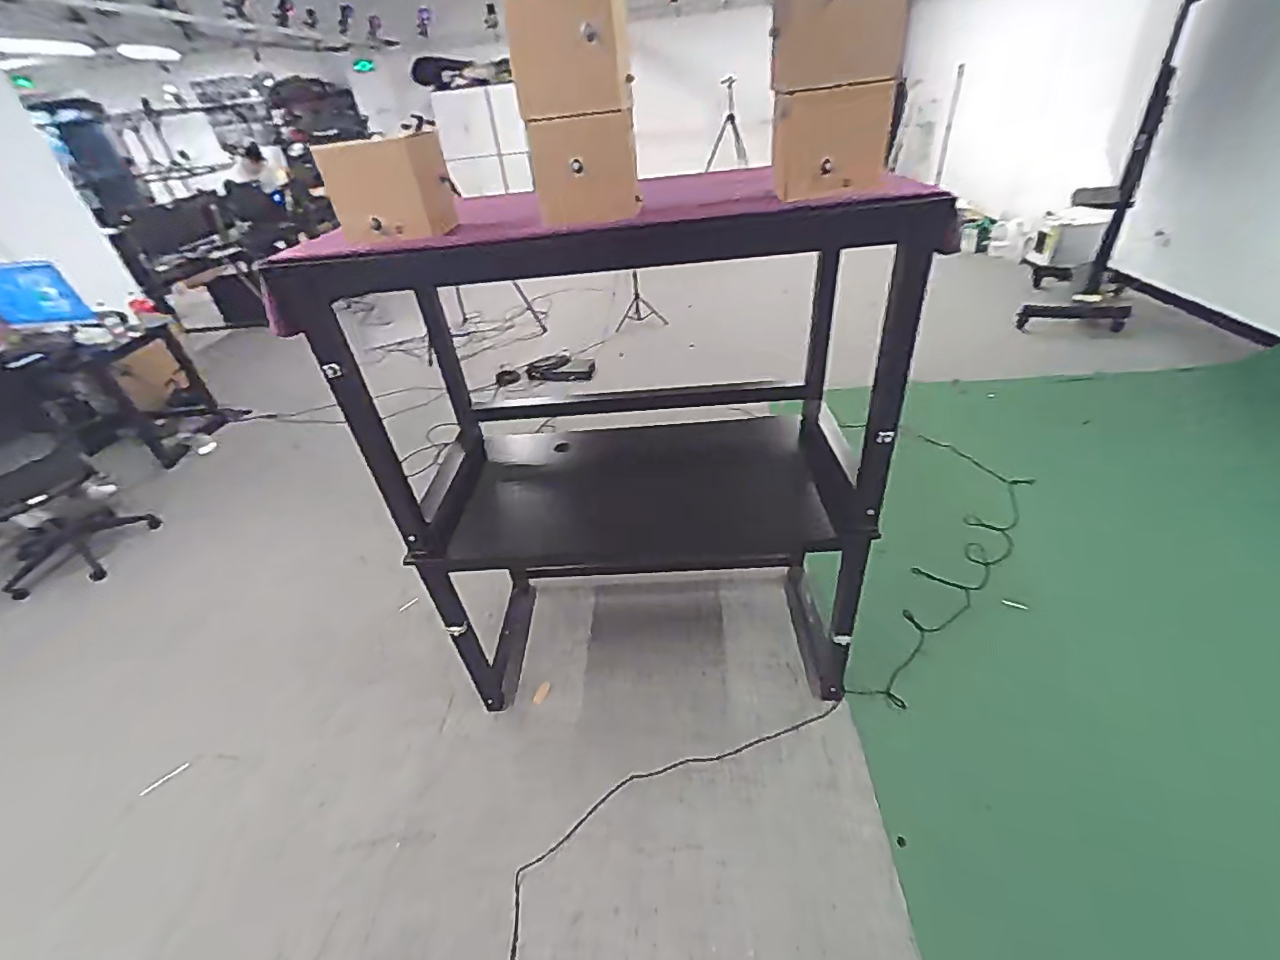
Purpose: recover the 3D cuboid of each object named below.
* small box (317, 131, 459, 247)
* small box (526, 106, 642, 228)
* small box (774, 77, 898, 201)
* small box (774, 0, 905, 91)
[{"bbox_3d":[-0.459,-0.549,1.022,0.168,0.176,0.179,-5,35,4],"label":"small box"},{"bbox_3d":[-0.091,-0.580,1.003,0.179,0.176,0.168,-4,35,6],"label":"small box"},{"bbox_3d":[0.338,-0.613,0.974,0.168,0.176,0.179,-4,37,6],"label":"small box"},{"bbox_3d":[0.314,-0.739,0.871,0.179,0.176,0.168,-4,37,6],"label":"small box"}]
